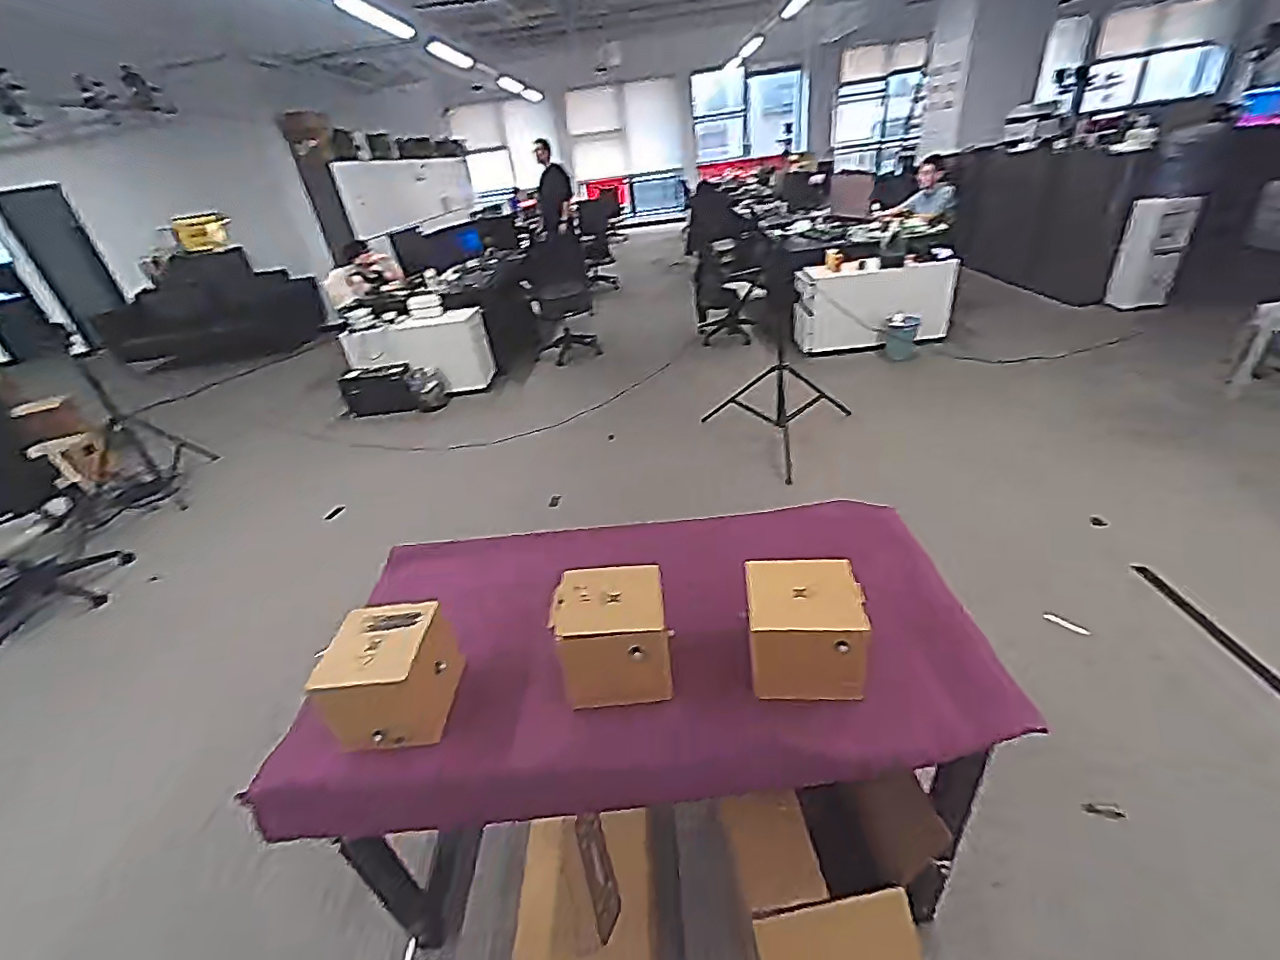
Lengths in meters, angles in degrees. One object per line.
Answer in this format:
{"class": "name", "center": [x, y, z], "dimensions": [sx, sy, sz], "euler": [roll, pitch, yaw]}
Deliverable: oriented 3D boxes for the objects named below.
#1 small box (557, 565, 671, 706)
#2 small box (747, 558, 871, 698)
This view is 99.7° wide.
{"class": "small box", "center": [-0.037, 0.274, 0.956], "dimensions": [0.179, 0.176, 0.168], "euler": [-7, 29, 2]}
{"class": "small box", "center": [0.278, 0.251, 0.922], "dimensions": [0.179, 0.176, 0.168], "euler": [-3, 31, 8]}
